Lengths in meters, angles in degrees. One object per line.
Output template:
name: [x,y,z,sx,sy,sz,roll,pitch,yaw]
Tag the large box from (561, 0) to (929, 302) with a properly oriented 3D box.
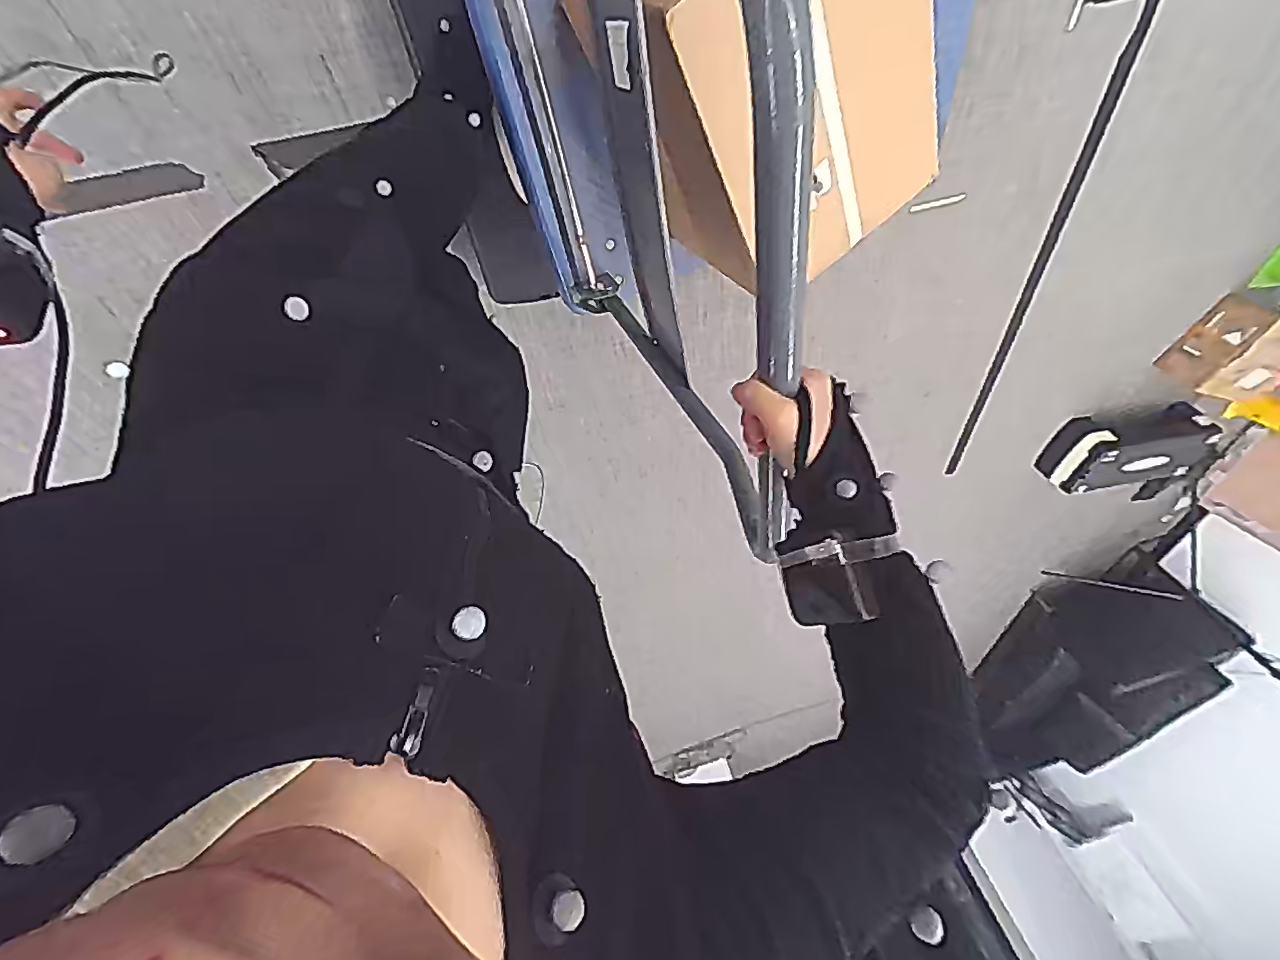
large box: [0.160,-0.549,0.764,0.320,0.320,0.408,-38,140,5]
